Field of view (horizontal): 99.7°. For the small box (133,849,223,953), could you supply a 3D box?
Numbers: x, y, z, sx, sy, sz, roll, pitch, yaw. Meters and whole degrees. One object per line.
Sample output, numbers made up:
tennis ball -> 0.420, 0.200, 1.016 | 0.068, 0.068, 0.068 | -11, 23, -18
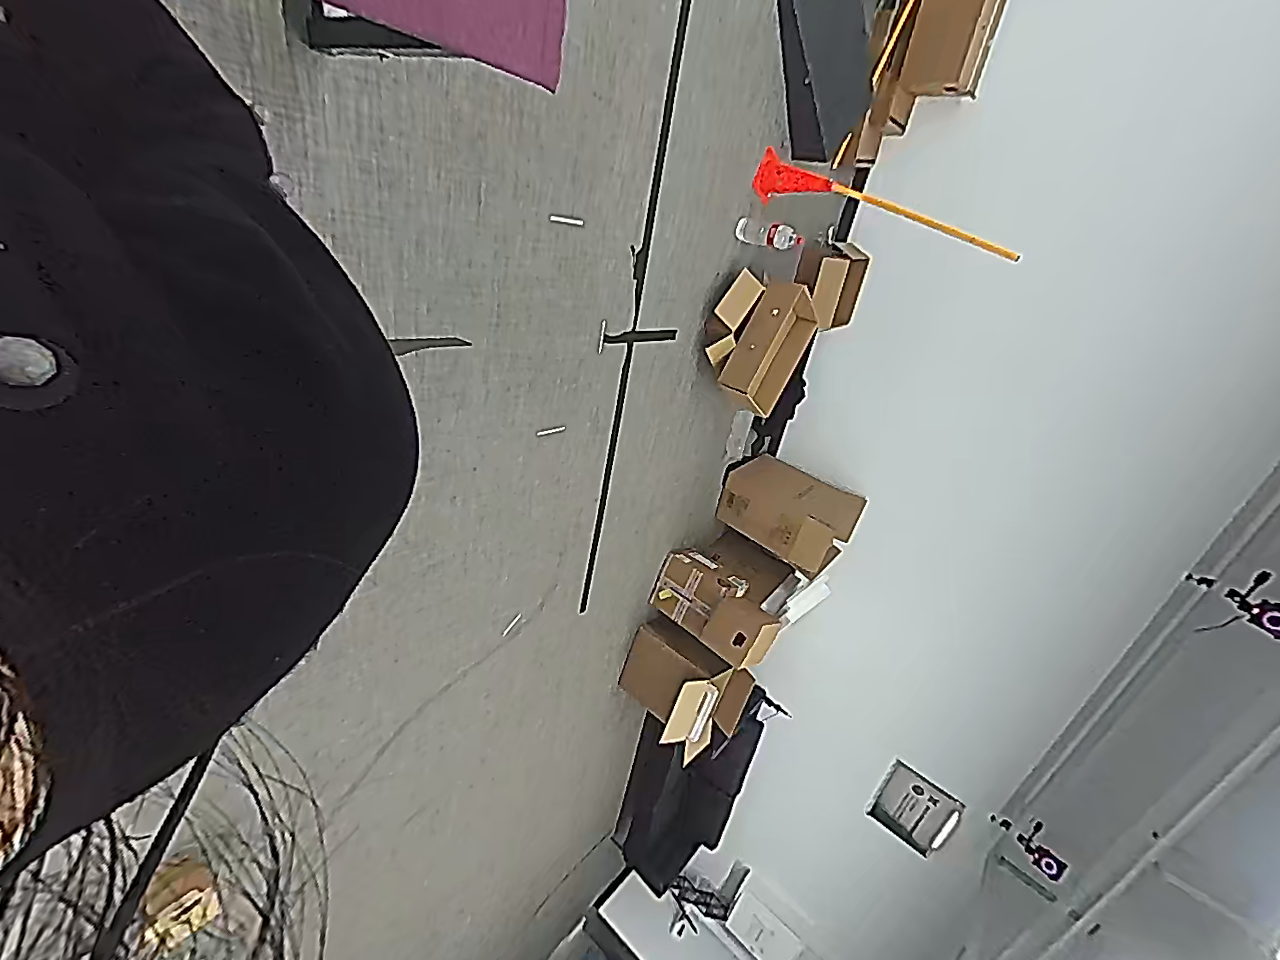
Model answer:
small box -> -1.476, 1.333, 1.728 | 0.168, 0.176, 0.179 | -23, 133, -46
